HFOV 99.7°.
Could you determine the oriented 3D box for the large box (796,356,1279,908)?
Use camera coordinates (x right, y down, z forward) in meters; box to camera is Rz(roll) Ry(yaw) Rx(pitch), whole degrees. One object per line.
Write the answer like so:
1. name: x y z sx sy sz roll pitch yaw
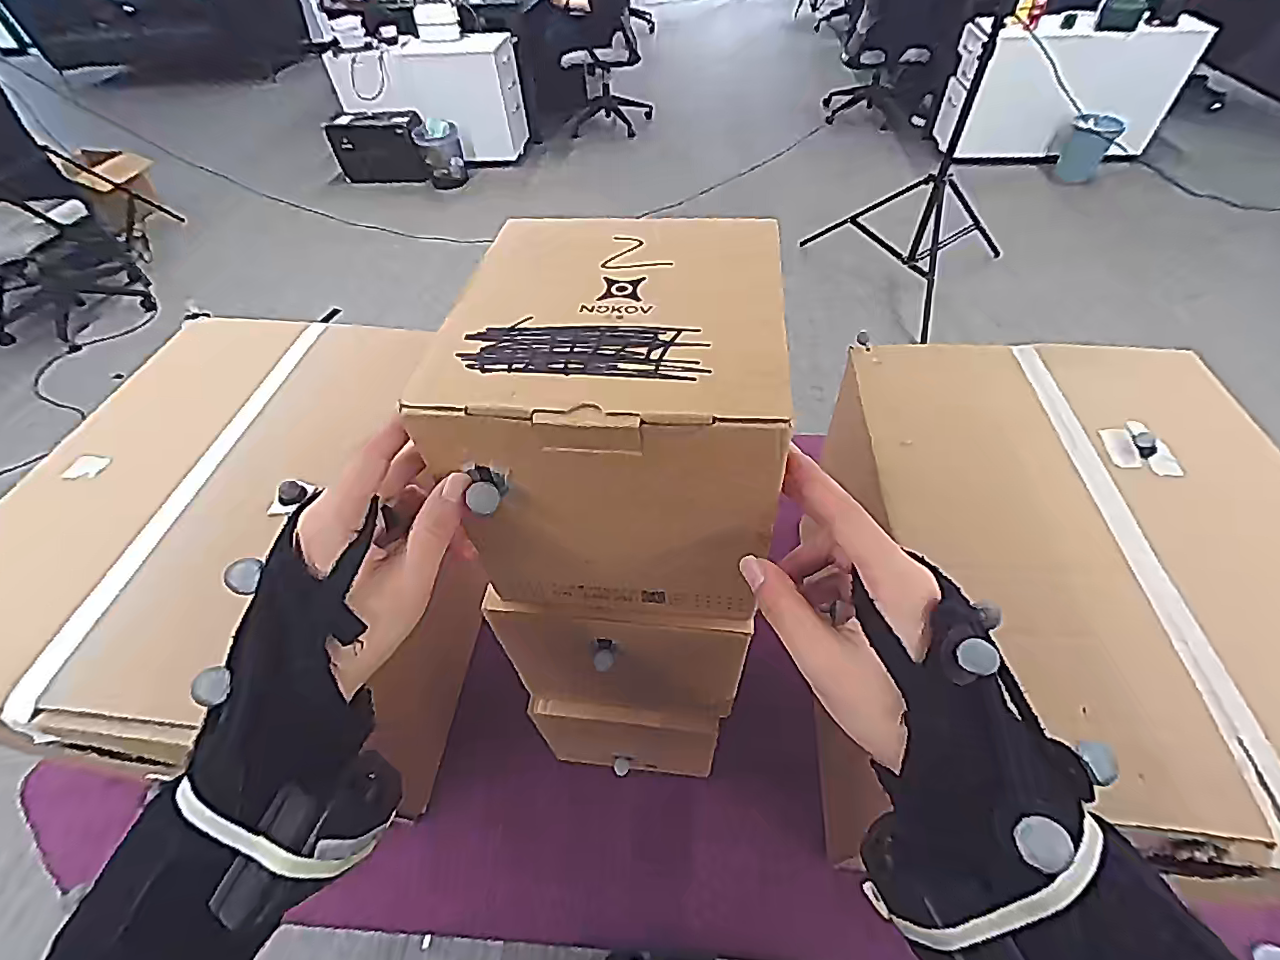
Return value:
1. large box: 0.342 0.132 0.511 0.320 0.320 0.408 3 49 6
